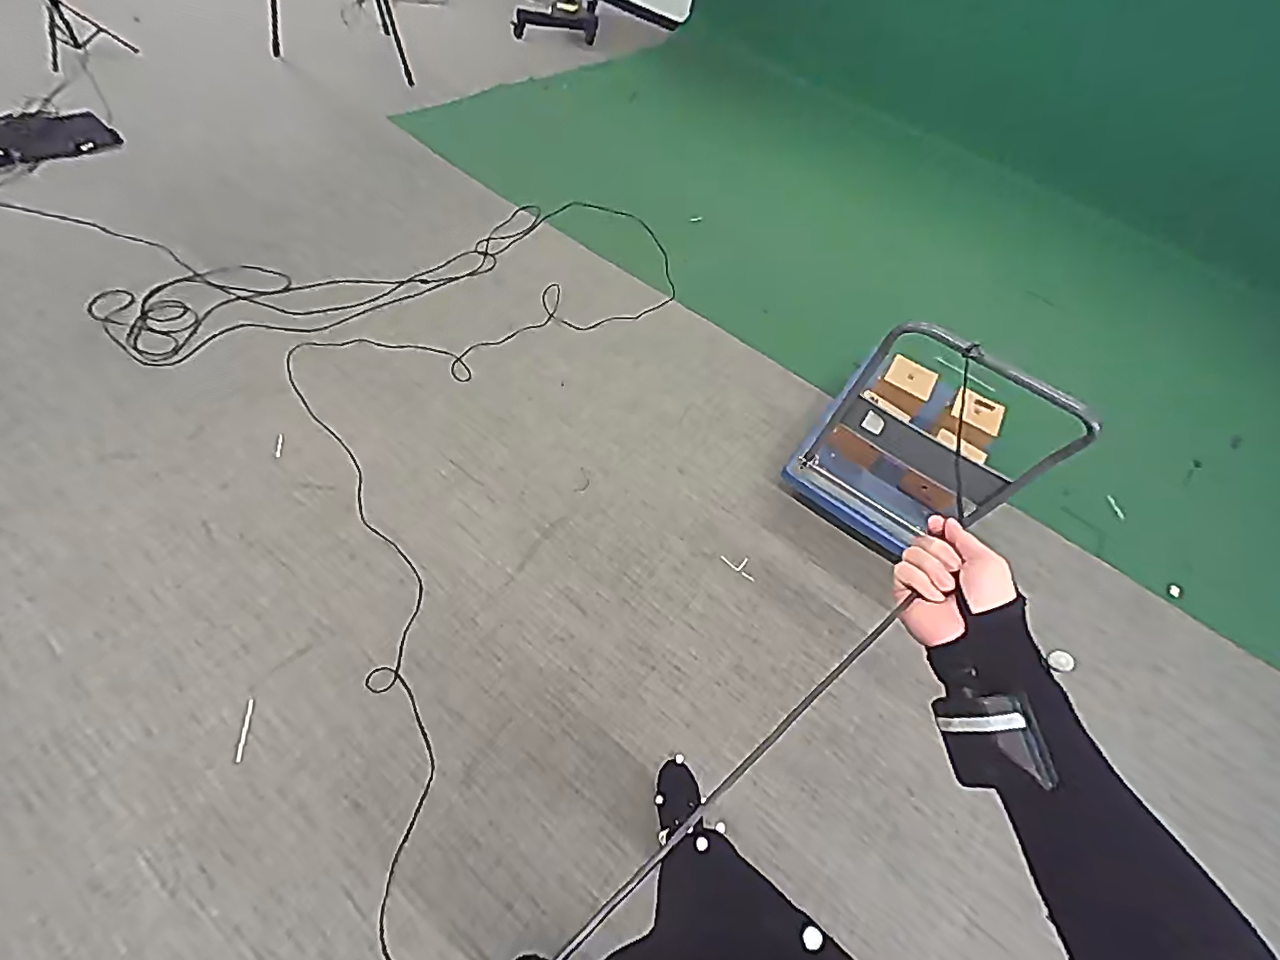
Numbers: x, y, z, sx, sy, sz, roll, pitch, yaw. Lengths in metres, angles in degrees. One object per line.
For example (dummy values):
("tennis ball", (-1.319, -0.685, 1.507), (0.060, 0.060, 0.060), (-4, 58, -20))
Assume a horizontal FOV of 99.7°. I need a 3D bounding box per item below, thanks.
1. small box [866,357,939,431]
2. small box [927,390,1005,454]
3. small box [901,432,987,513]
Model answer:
("small box", (0.972, -0.317, 2.018), (0.168, 0.176, 0.179), (33, 56, 12))
("small box", (1.180, -0.186, 1.965), (0.168, 0.176, 0.179), (32, 57, 13))
("small box", (1.018, -0.023, 1.823), (0.168, 0.176, 0.179), (37, 58, 15))
